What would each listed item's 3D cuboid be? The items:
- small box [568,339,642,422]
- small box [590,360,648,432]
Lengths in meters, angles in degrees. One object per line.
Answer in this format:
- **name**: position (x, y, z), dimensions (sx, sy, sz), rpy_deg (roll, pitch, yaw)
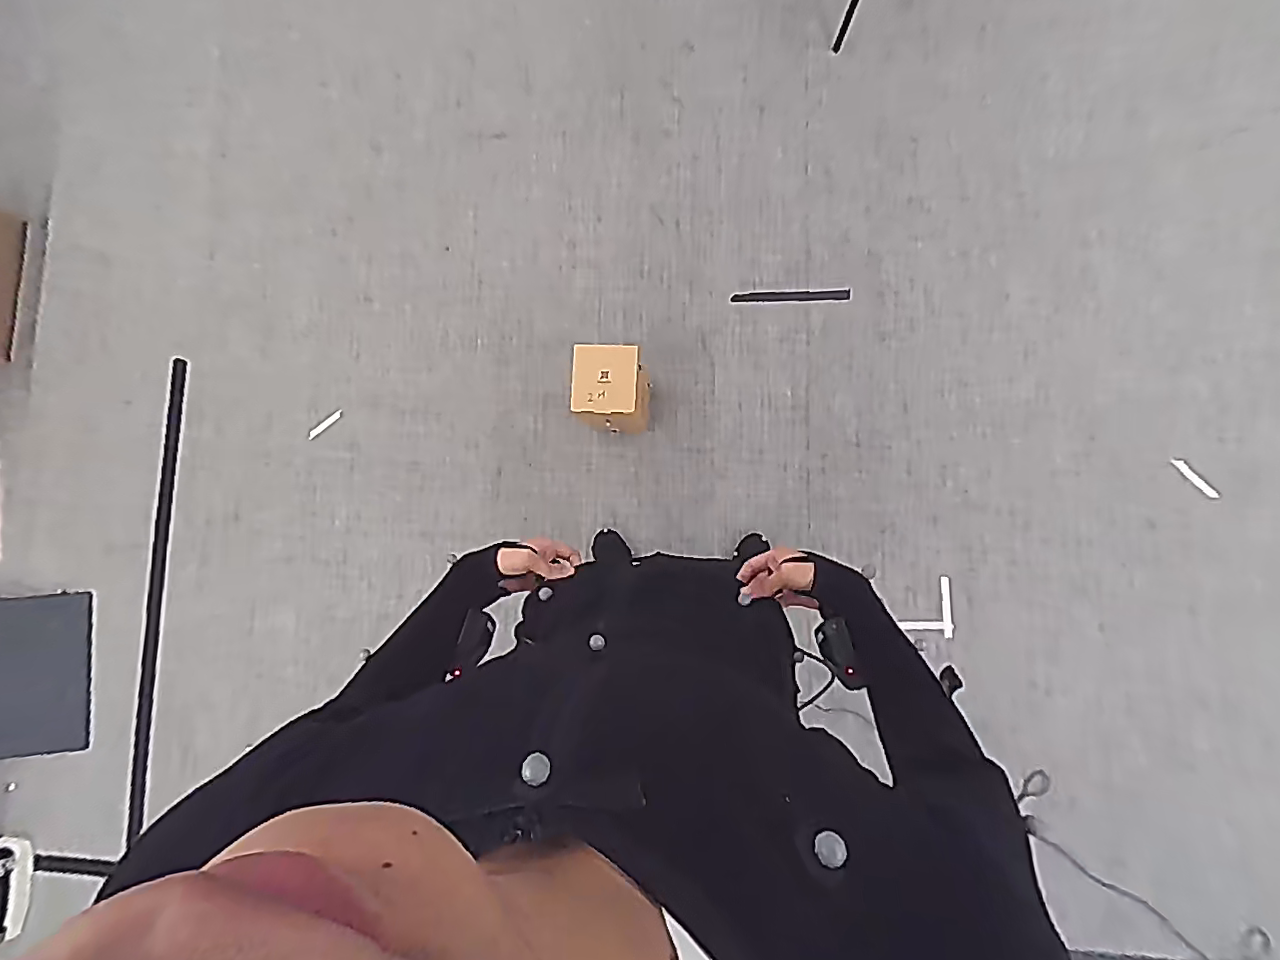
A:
- **small box**: position (-0.086, -0.257, 1.424), dimensions (0.168, 0.176, 0.179), rpy_deg (3, 86, 6)
- **small box**: position (-0.066, -0.247, 1.587), dimensions (0.168, 0.176, 0.179), rpy_deg (3, 85, 5)
